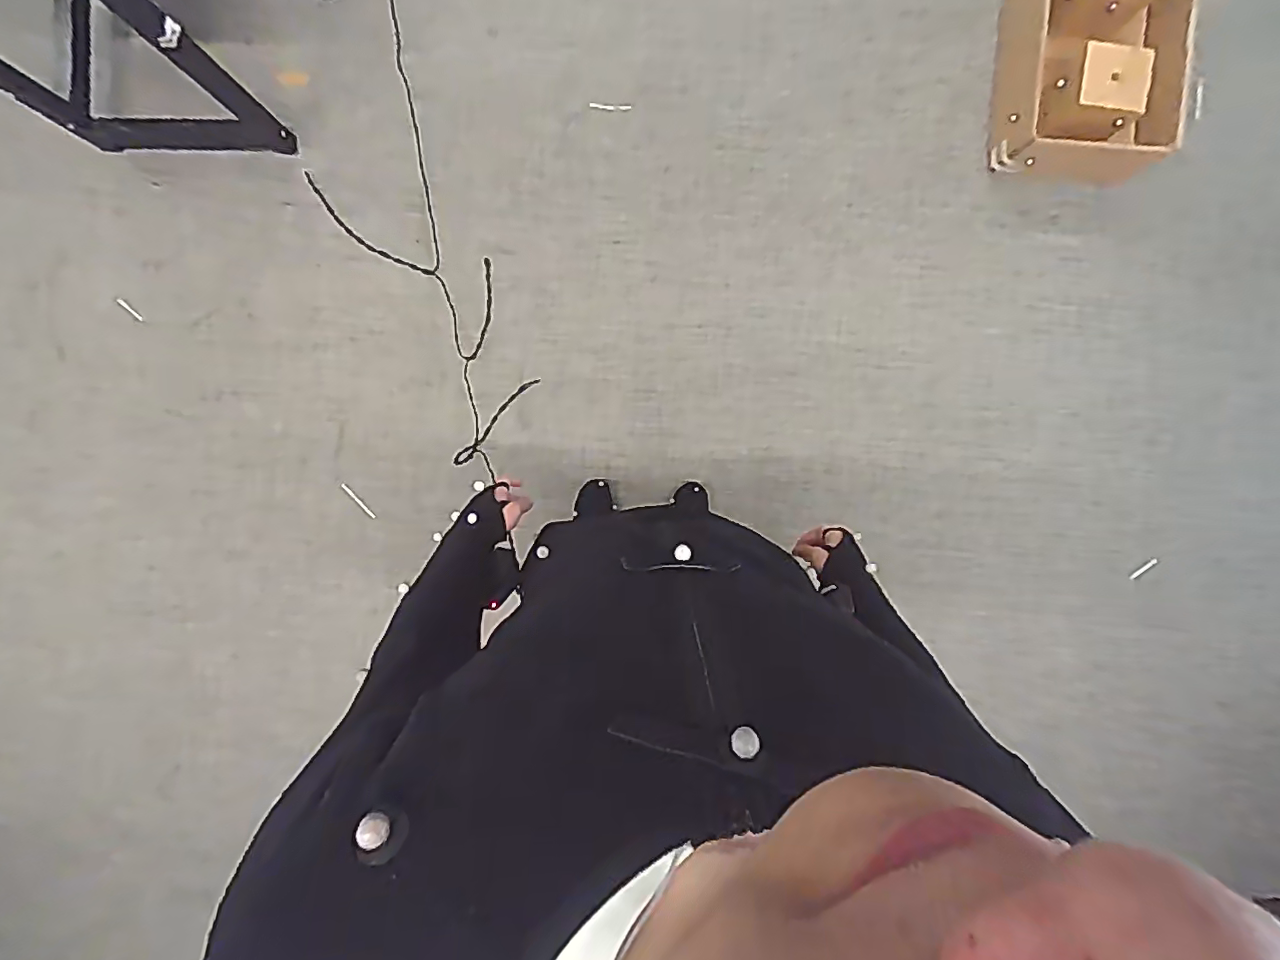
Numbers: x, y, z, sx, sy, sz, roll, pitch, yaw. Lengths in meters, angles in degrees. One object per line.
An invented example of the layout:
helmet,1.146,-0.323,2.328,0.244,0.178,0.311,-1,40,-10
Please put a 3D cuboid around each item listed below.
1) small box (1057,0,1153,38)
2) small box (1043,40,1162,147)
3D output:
small box,1.272,-1.338,1.455,0.179,0.176,0.168,4,93,0
small box,1.242,-1.039,1.466,0.179,0.176,0.168,8,92,0
